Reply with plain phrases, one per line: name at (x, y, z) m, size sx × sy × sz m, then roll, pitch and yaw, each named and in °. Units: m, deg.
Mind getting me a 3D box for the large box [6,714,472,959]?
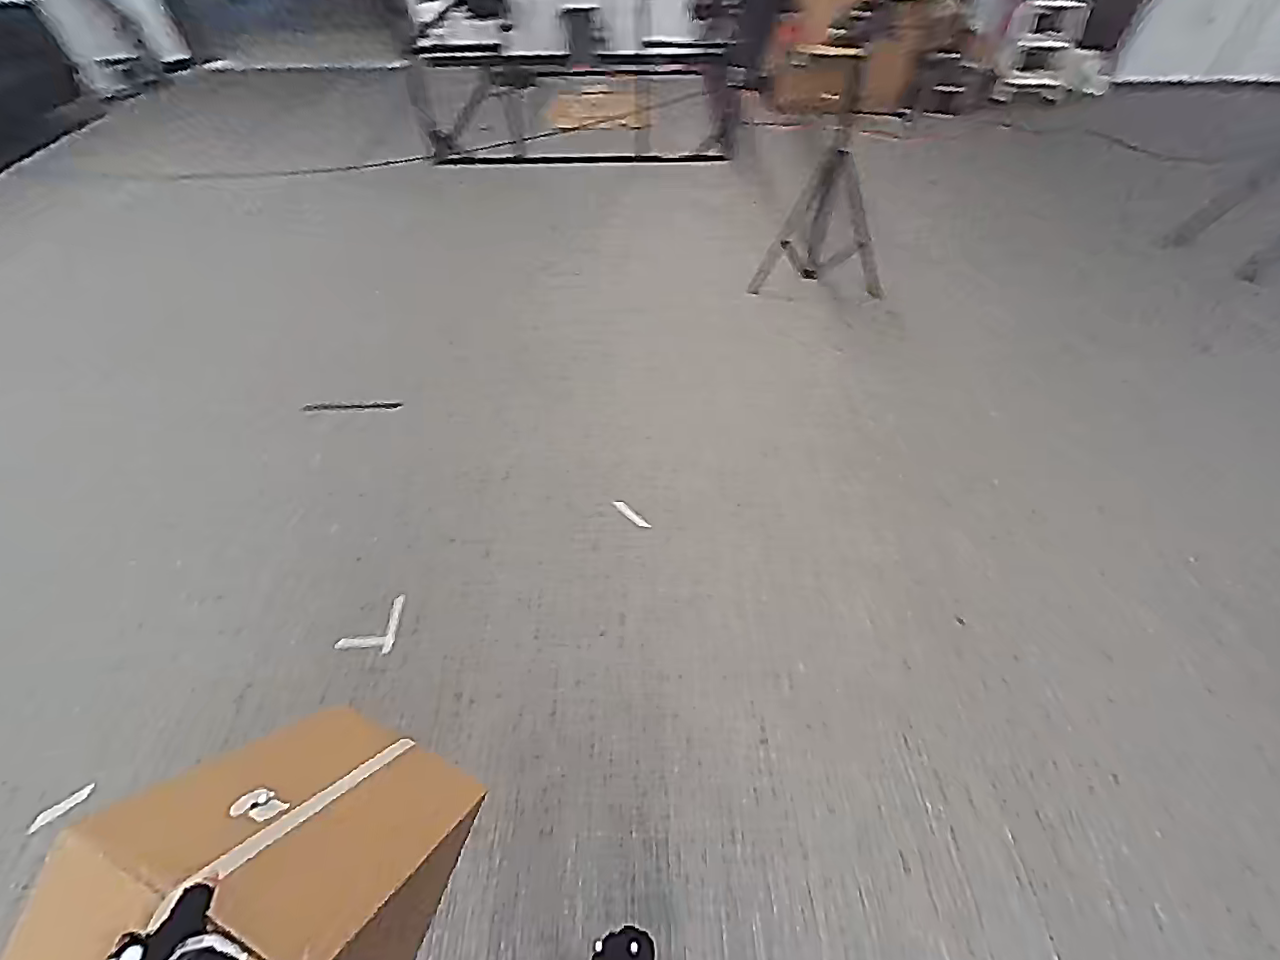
large box at (-0.497, 0.587, 0.720) m, size 0.320 × 0.408 × 0.320 m, roll 22°, pitch 89°, yaw 10°
